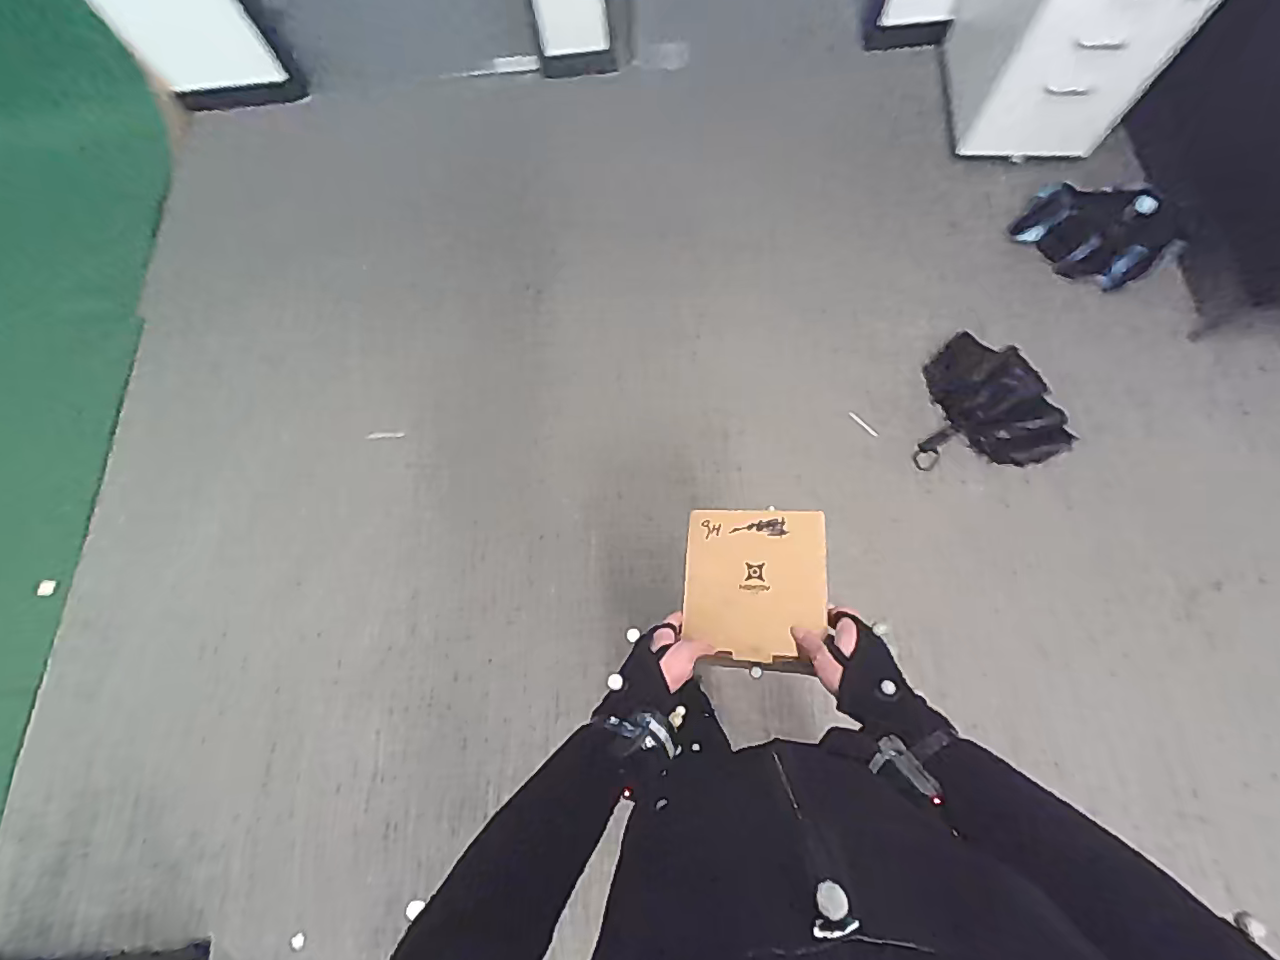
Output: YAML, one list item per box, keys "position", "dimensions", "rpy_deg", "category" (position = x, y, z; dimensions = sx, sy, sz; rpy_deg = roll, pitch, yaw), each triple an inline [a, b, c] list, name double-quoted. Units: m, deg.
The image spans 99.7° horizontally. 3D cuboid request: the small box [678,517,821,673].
- position: [0.150, 0.157, 0.715]
  dimensions: [0.168, 0.176, 0.179]
  rpy_deg: [-1, 68, 15]
  category: "small box"
